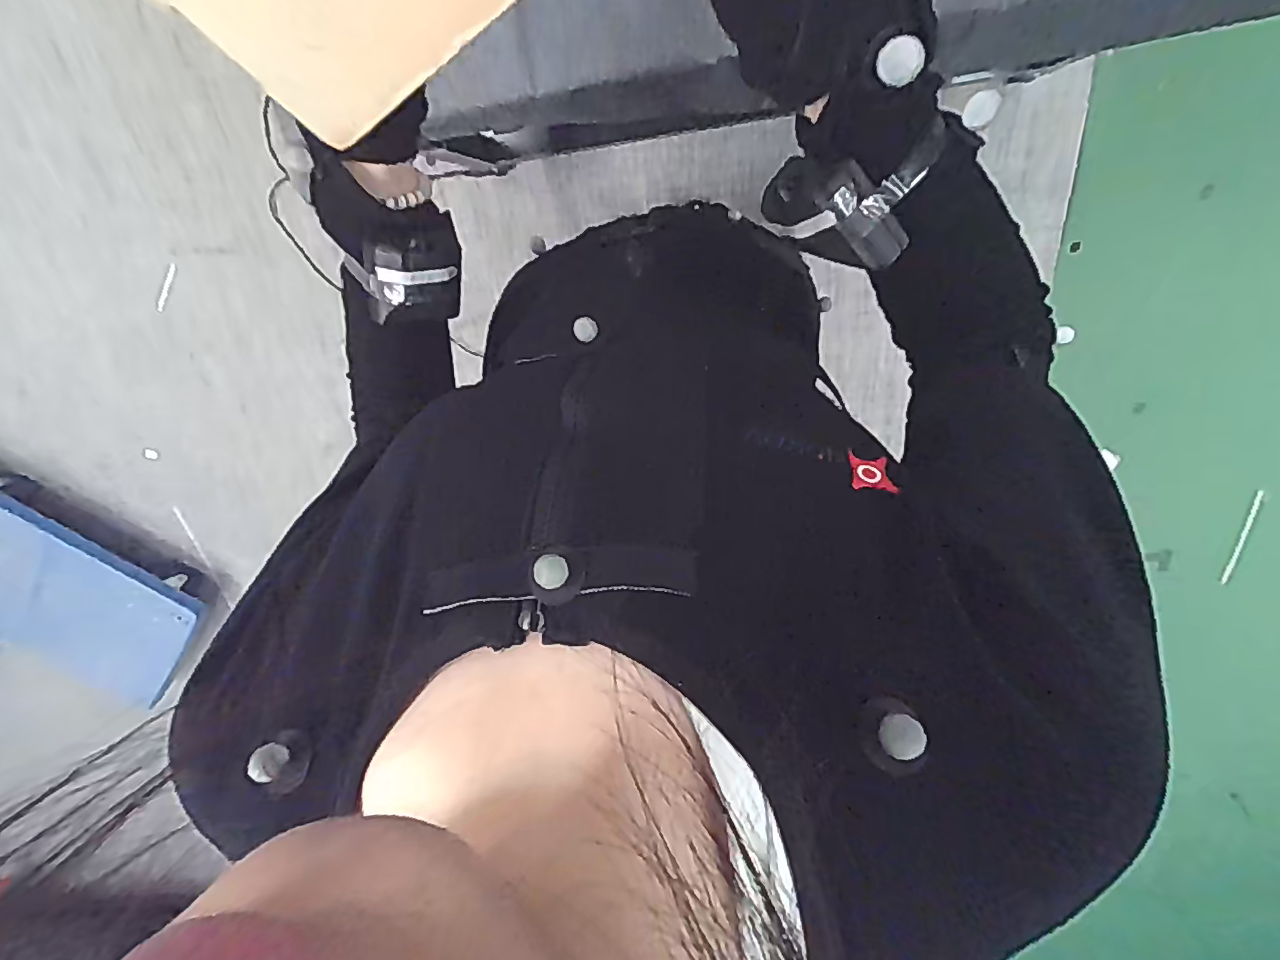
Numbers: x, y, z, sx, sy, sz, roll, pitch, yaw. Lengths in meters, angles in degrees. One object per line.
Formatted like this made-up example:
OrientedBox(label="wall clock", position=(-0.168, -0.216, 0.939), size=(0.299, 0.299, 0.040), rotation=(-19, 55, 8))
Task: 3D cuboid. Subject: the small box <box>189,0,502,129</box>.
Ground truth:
OrientedBox(label="small box", position=(-0.090, -0.262, 0.155), size=(0.179, 0.176, 0.168), rotation=(-10, 153, 31))
